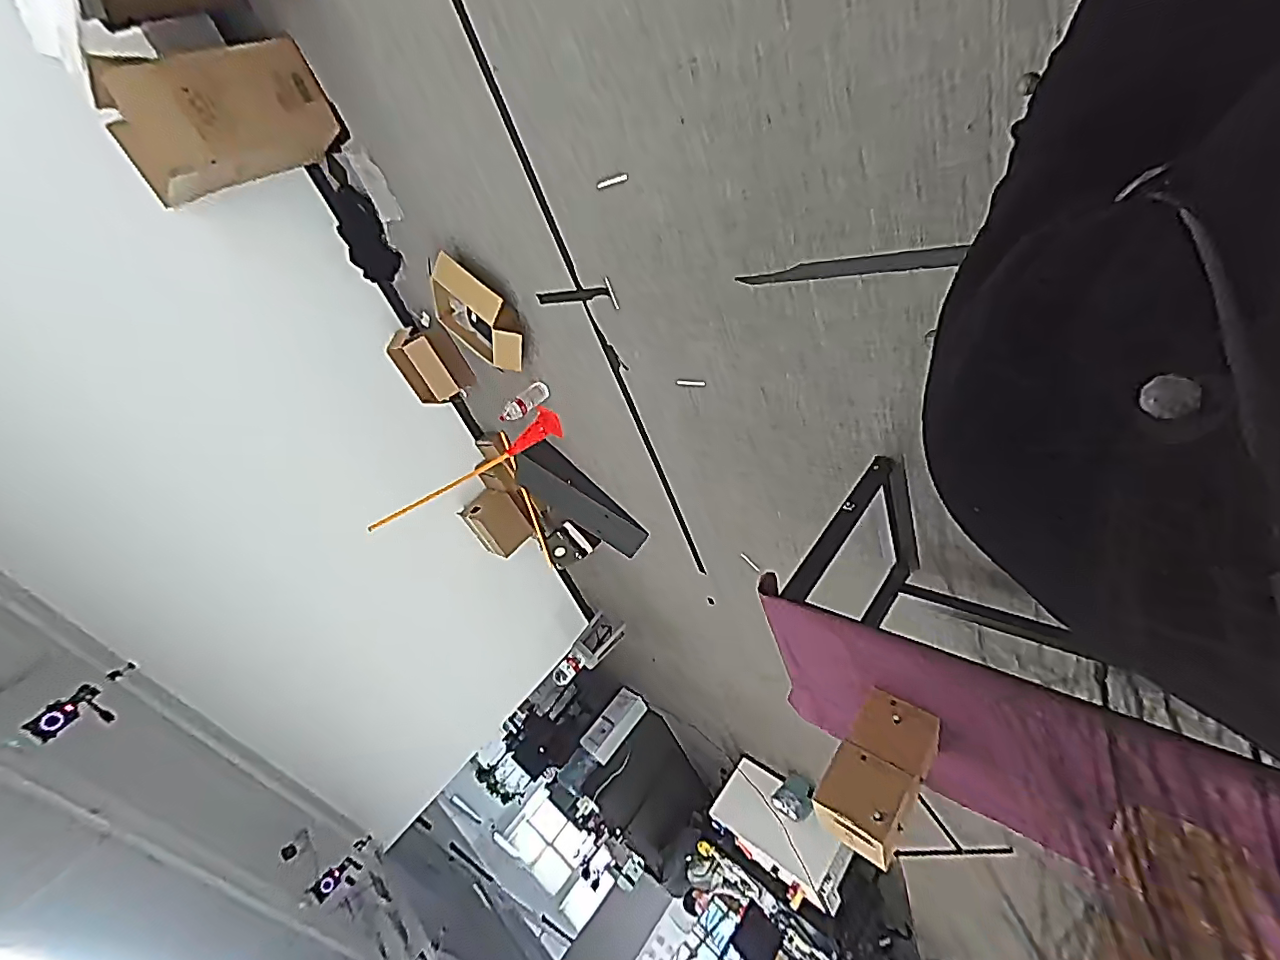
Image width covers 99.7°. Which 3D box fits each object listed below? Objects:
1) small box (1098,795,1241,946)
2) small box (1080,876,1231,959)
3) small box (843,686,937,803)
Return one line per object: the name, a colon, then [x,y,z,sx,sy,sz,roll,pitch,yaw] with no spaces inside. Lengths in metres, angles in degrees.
small box: [0.979,0.735,1.007,0.168,0.176,0.179,14,139,44]
small box: [0.878,0.840,0.932,0.168,0.176,0.179,14,139,44]
small box: [0.634,0.663,1.367,0.168,0.176,0.179,18,141,40]
